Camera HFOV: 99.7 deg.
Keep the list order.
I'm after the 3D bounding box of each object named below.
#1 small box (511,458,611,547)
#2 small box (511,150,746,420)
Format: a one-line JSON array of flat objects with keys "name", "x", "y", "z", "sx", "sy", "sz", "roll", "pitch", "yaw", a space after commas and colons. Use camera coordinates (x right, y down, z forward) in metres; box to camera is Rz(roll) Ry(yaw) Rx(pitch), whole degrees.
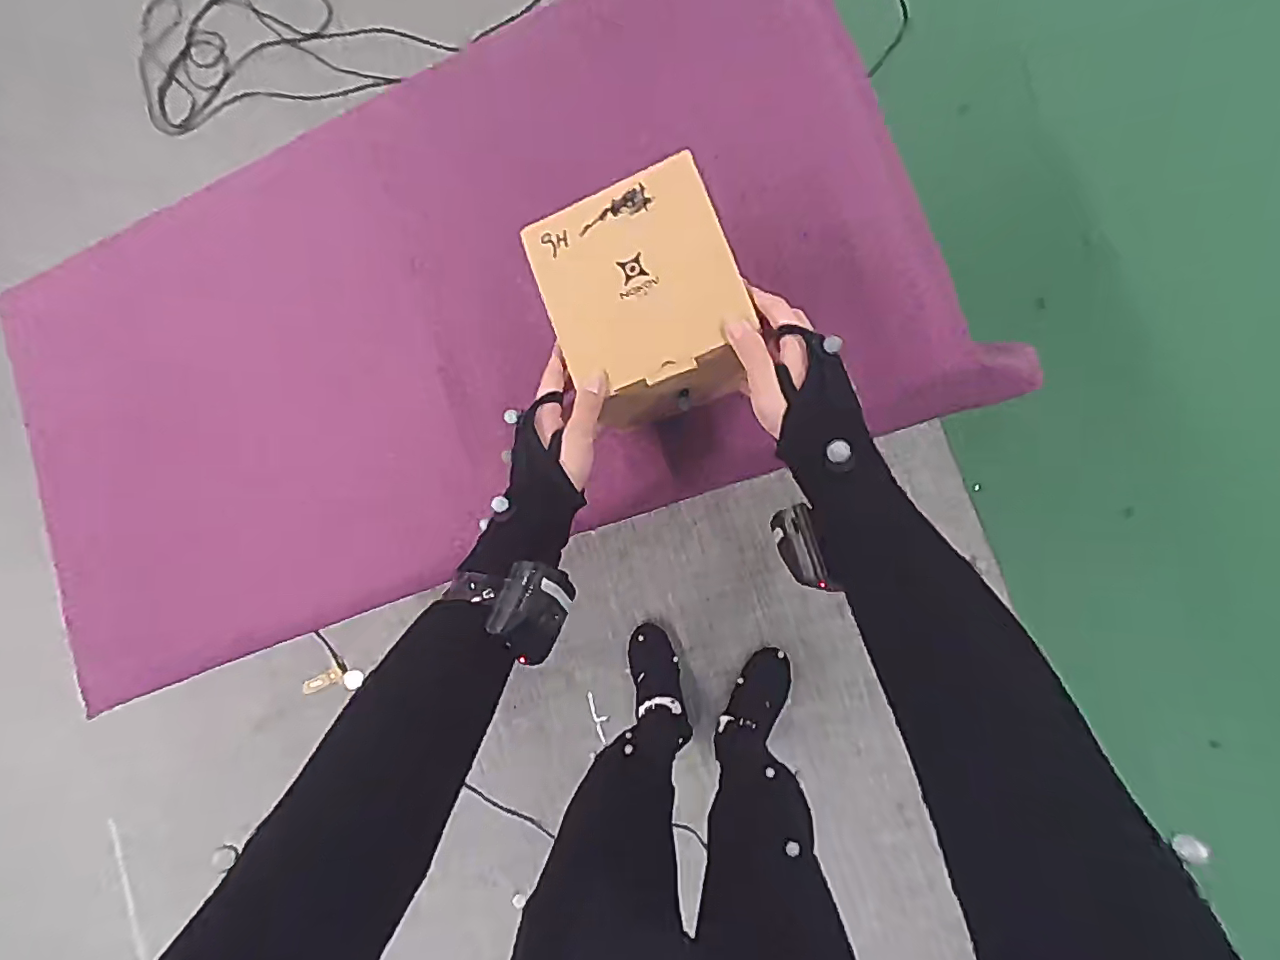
[{"name": "small box", "x": -0.180, "y": 0.054, "z": 1.302, "sx": 0.179, "sy": 0.176, "sz": 0.168, "roll": -19, "pitch": 83, "yaw": 10}, {"name": "small box", "x": 0.003, "y": -0.169, "z": 0.538, "sx": 0.168, "sy": 0.176, "sz": 0.179, "roll": -21, "pitch": 83, "yaw": 10}]
